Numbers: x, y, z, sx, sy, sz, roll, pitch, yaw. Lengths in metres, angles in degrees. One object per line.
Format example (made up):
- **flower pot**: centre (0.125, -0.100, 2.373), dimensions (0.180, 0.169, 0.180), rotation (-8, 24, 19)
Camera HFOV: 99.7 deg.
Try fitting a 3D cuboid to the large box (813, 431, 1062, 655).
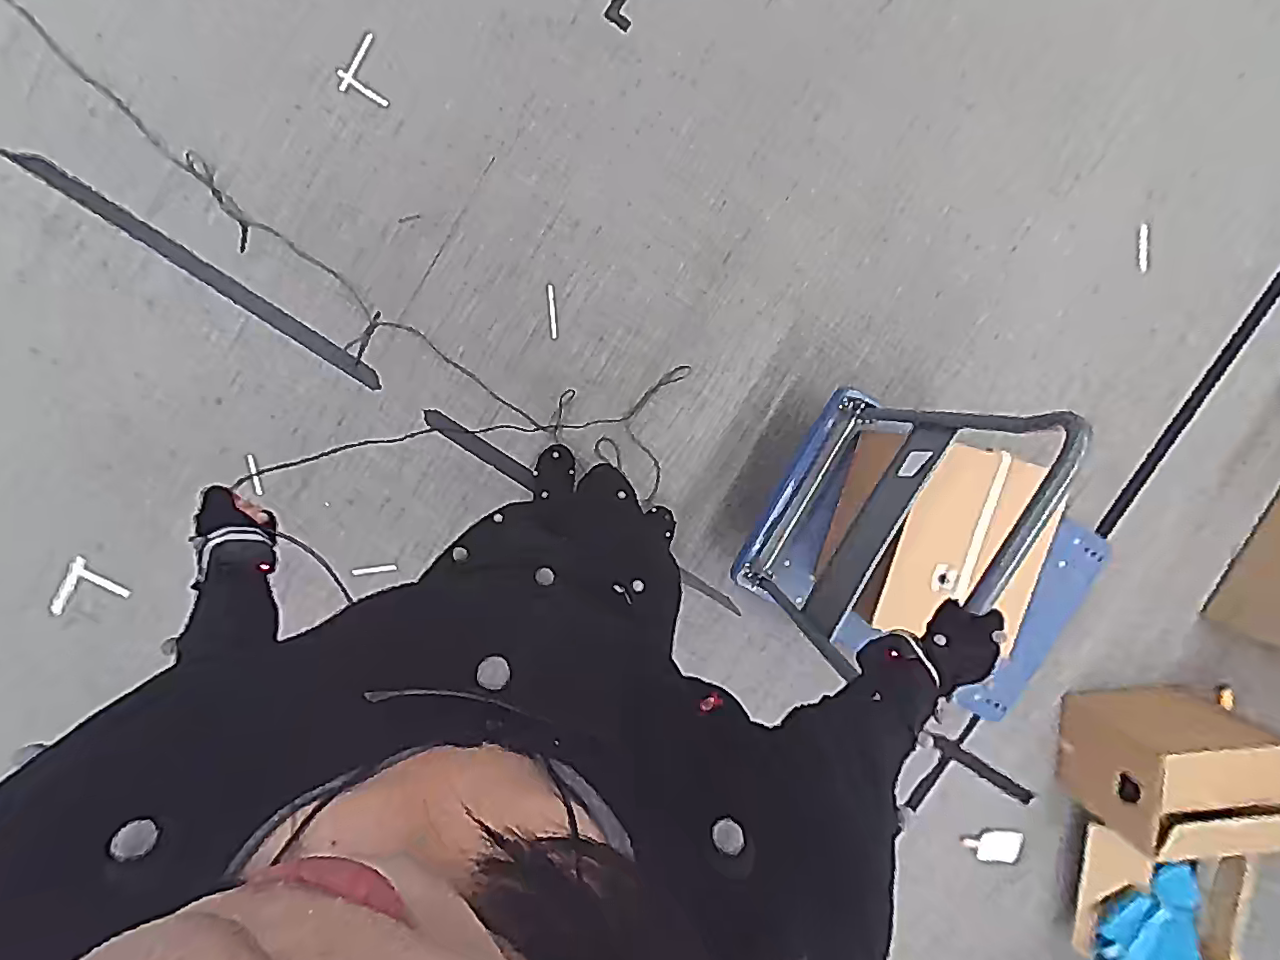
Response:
- **large box**: centre (0.648, 0.121, 1.242), dimensions (0.320, 0.320, 0.408), rotation (15, 97, -5)
